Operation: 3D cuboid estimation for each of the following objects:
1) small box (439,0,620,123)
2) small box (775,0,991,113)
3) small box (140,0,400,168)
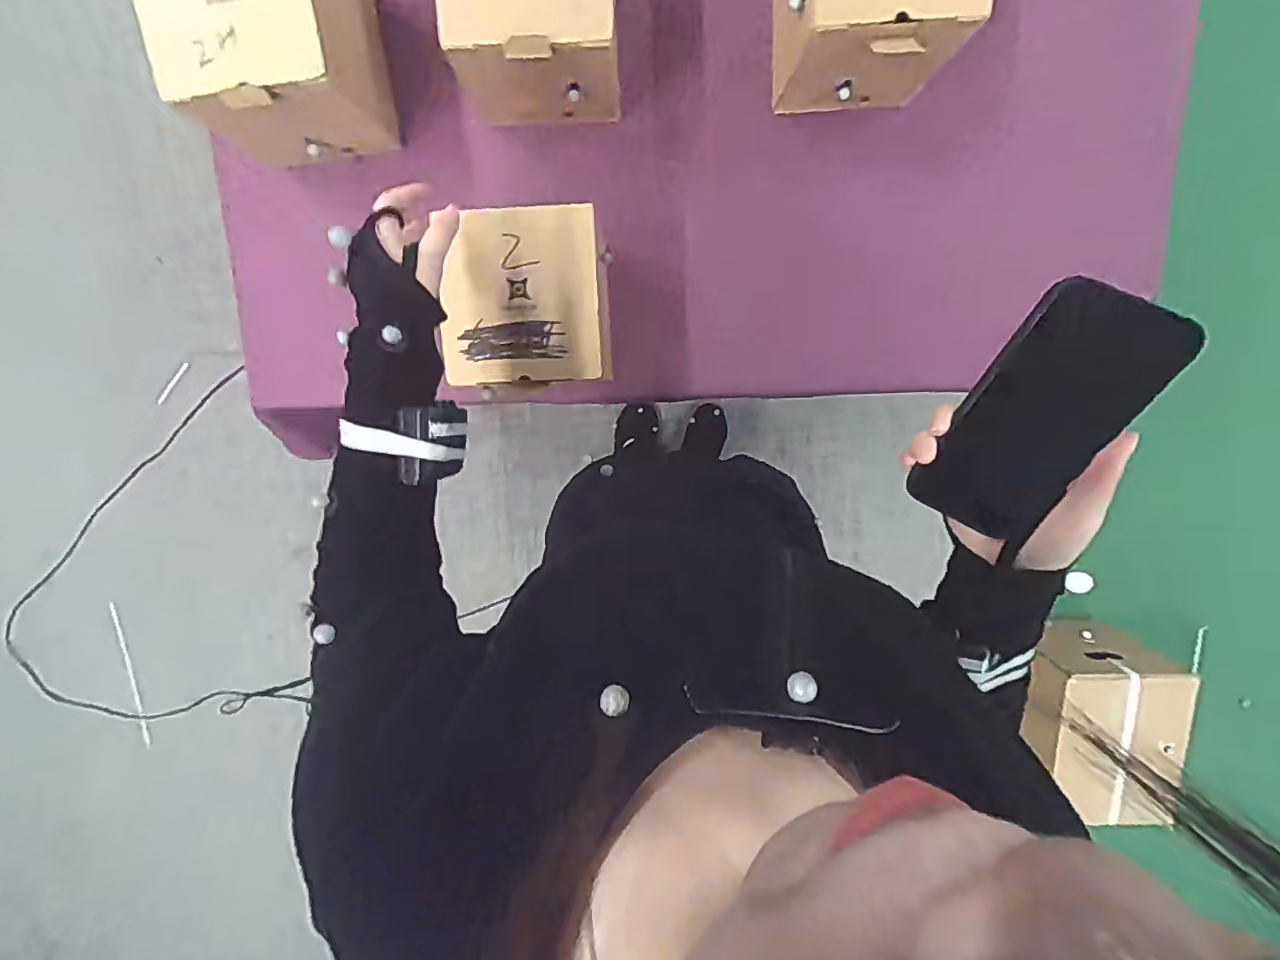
[{"bbox_3d":[-0.107,-0.508,0.576,0.168,0.176,0.179,-1,101,0],"label":"small box"},{"bbox_3d":[0.241,-0.525,0.568,0.168,0.176,0.179,-3,101,2],"label":"small box"},{"bbox_3d":[-0.387,-0.471,0.585,0.168,0.176,0.179,-7,101,2],"label":"small box"}]
